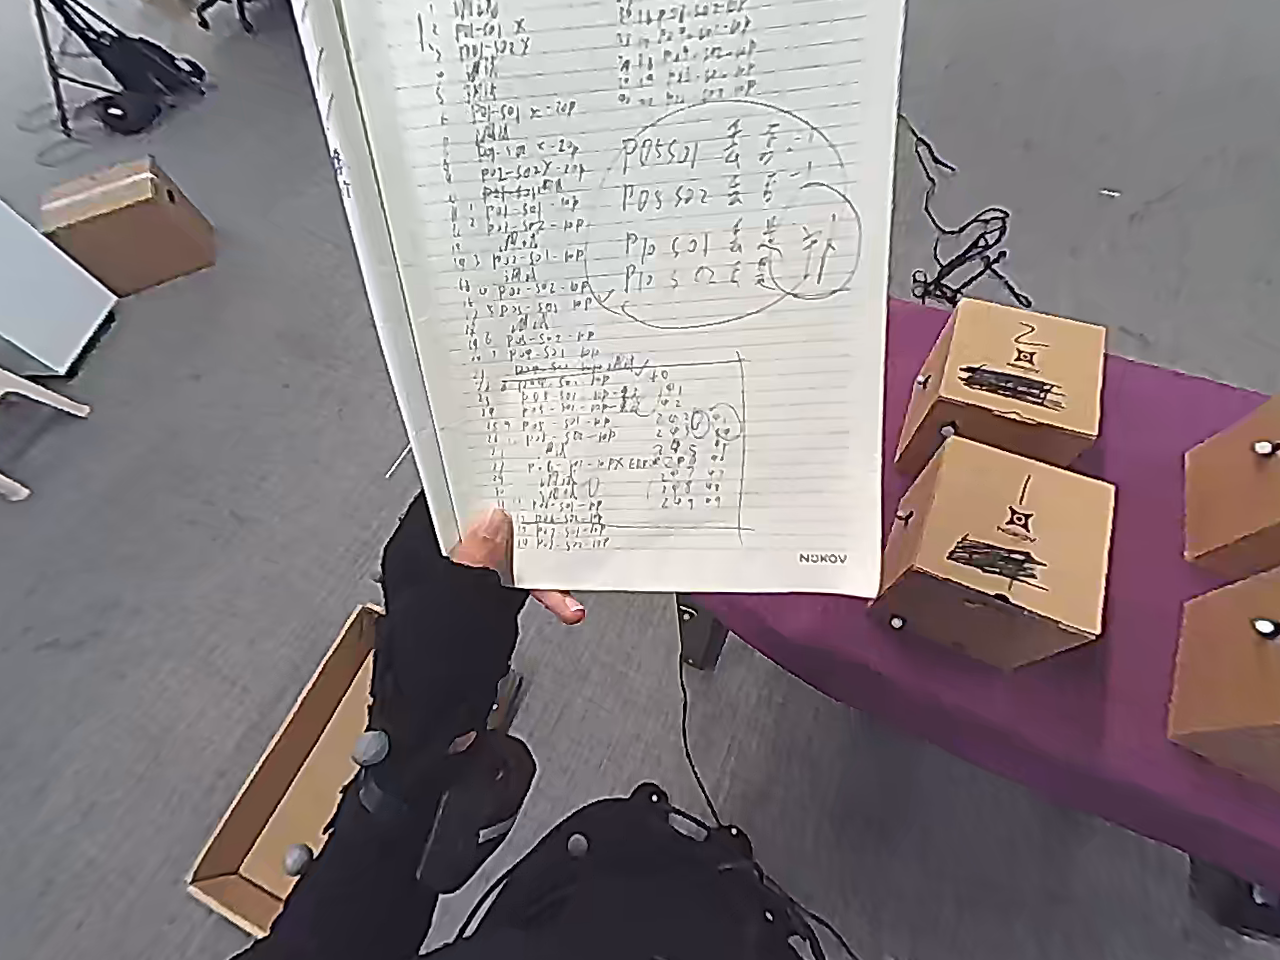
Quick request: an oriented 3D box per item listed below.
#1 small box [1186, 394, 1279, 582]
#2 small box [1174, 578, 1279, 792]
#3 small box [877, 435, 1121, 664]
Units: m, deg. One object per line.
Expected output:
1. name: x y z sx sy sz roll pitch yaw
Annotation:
1. small box: 0.779 0.024 0.614 0.168 0.176 0.179 20 65 16
2. small box: 0.675 0.204 0.520 0.168 0.176 0.179 26 66 19
3. small box: 0.389 0.086 0.615 0.168 0.176 0.179 23 65 18
